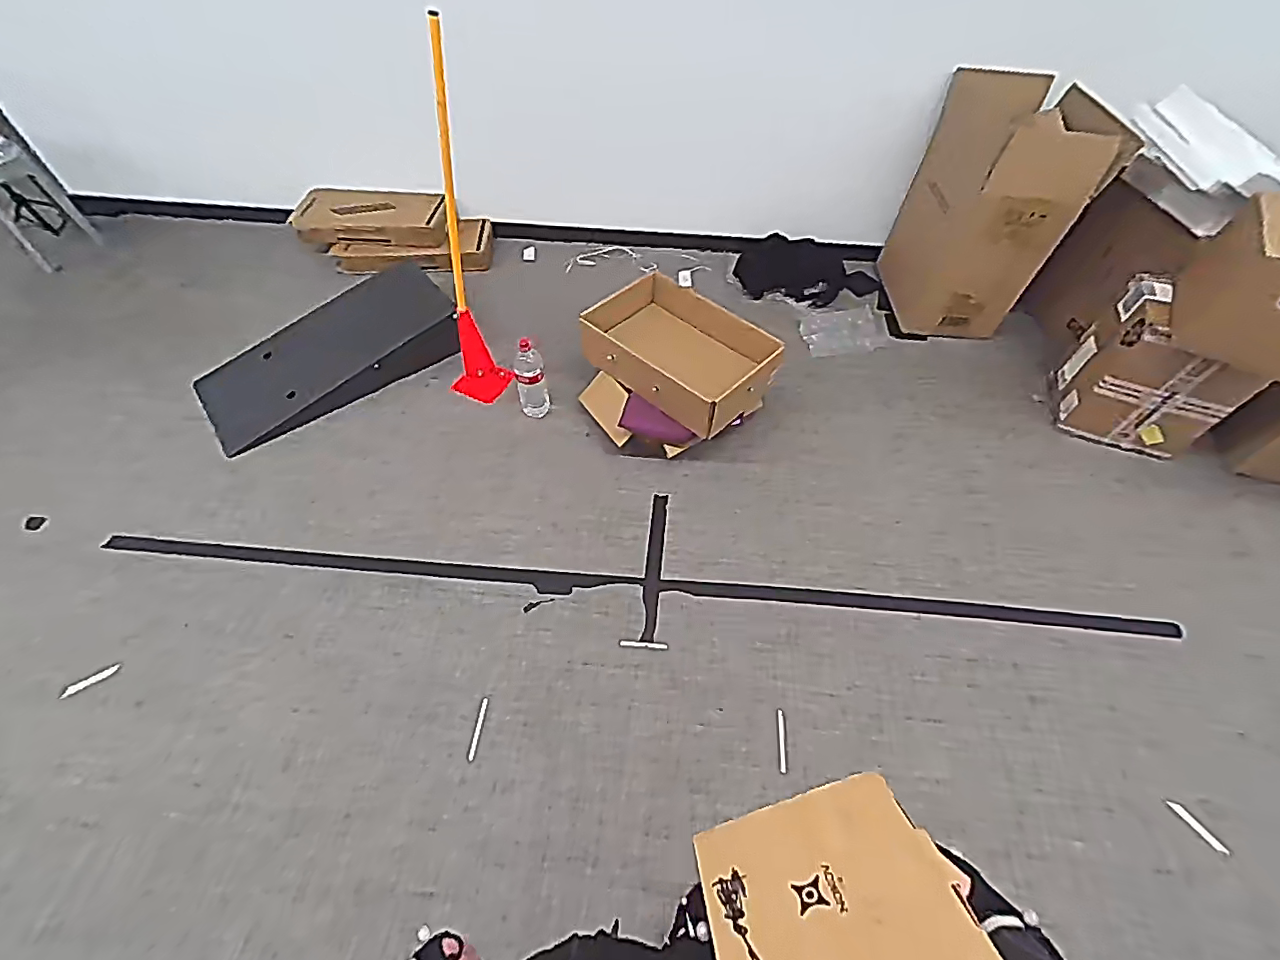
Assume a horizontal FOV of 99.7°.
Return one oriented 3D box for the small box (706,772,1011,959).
[{"bbox_3d":[0.170,0.382,0.427,0.179,0.176,0.168,-20,13,1],"label":"small box"}]
